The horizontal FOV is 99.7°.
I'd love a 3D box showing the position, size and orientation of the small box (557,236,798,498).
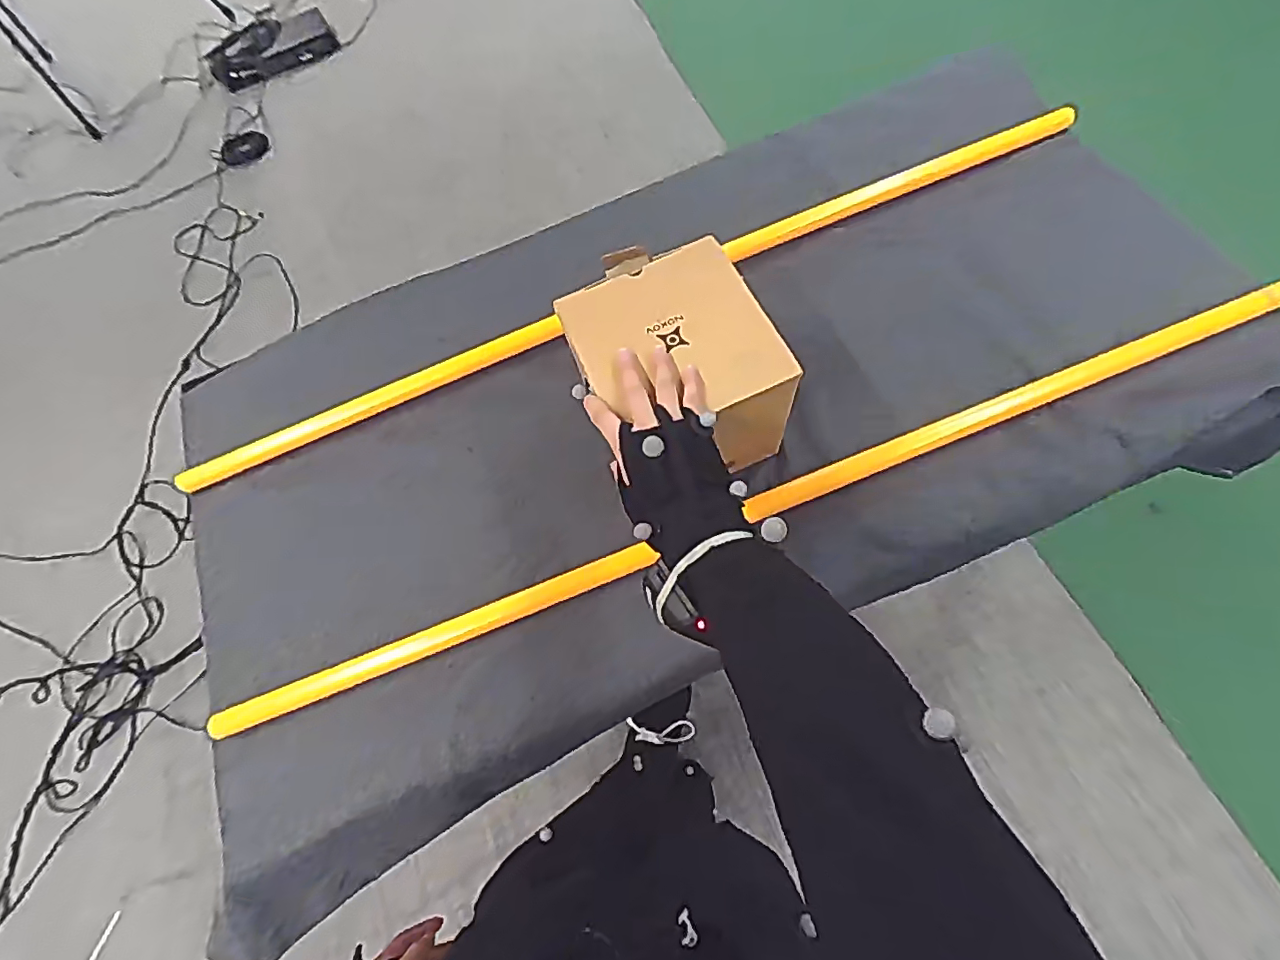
[{"bbox_3d":[0.039,-0.099,0.551,0.168,0.176,0.179,-24,67,-2],"label":"small box"}]
